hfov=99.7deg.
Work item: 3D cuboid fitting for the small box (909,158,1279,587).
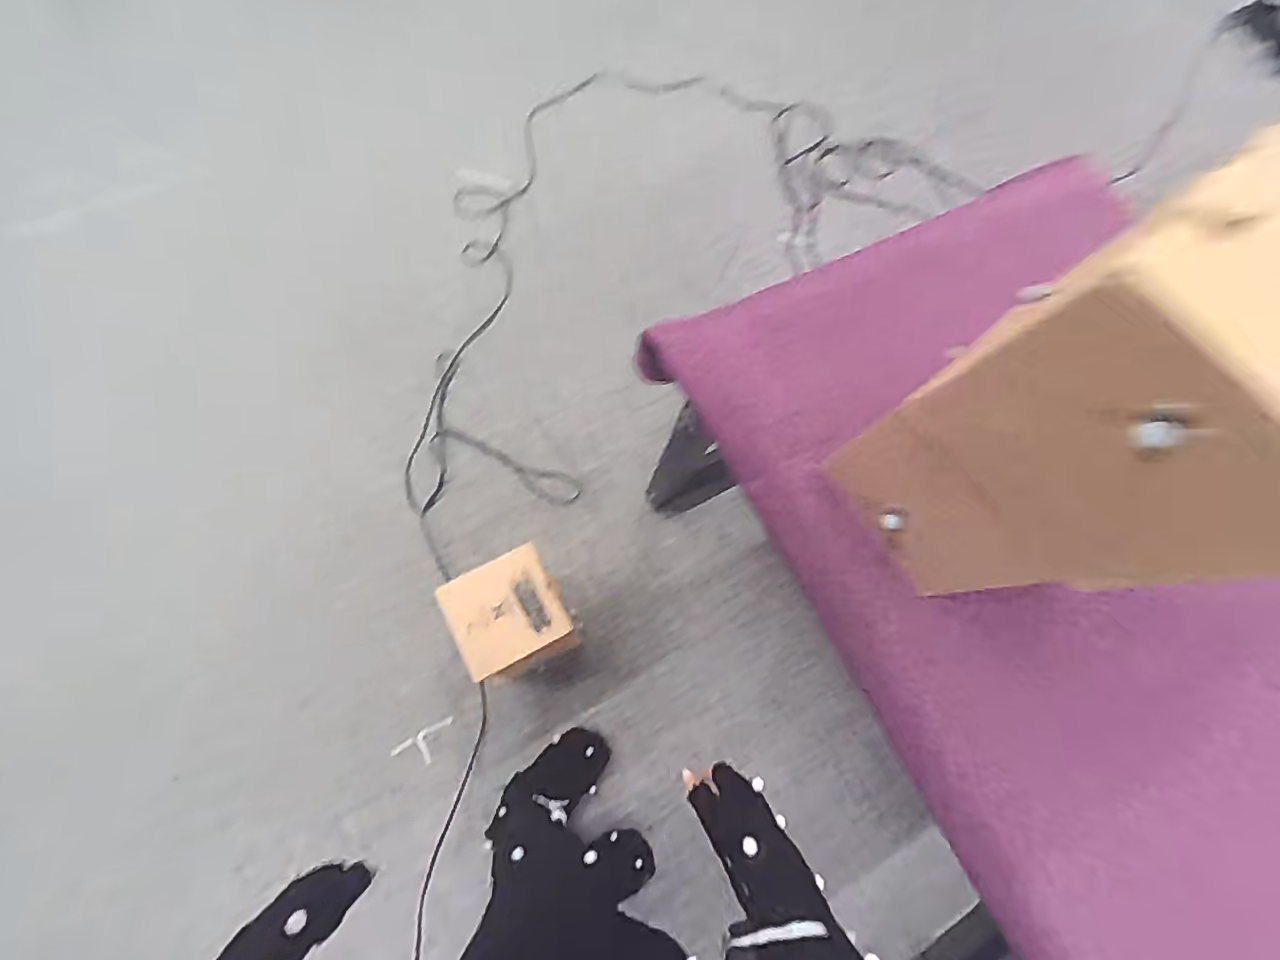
[{"bbox_3d":[0.323,-0.046,0.344,0.168,0.176,0.179,-37,81,-15],"label":"small box"}]

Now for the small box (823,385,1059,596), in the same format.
[{"bbox_3d":[0.309,-0.009,0.503,0.179,0.176,0.168,-31,80,-15],"label":"small box"}]
